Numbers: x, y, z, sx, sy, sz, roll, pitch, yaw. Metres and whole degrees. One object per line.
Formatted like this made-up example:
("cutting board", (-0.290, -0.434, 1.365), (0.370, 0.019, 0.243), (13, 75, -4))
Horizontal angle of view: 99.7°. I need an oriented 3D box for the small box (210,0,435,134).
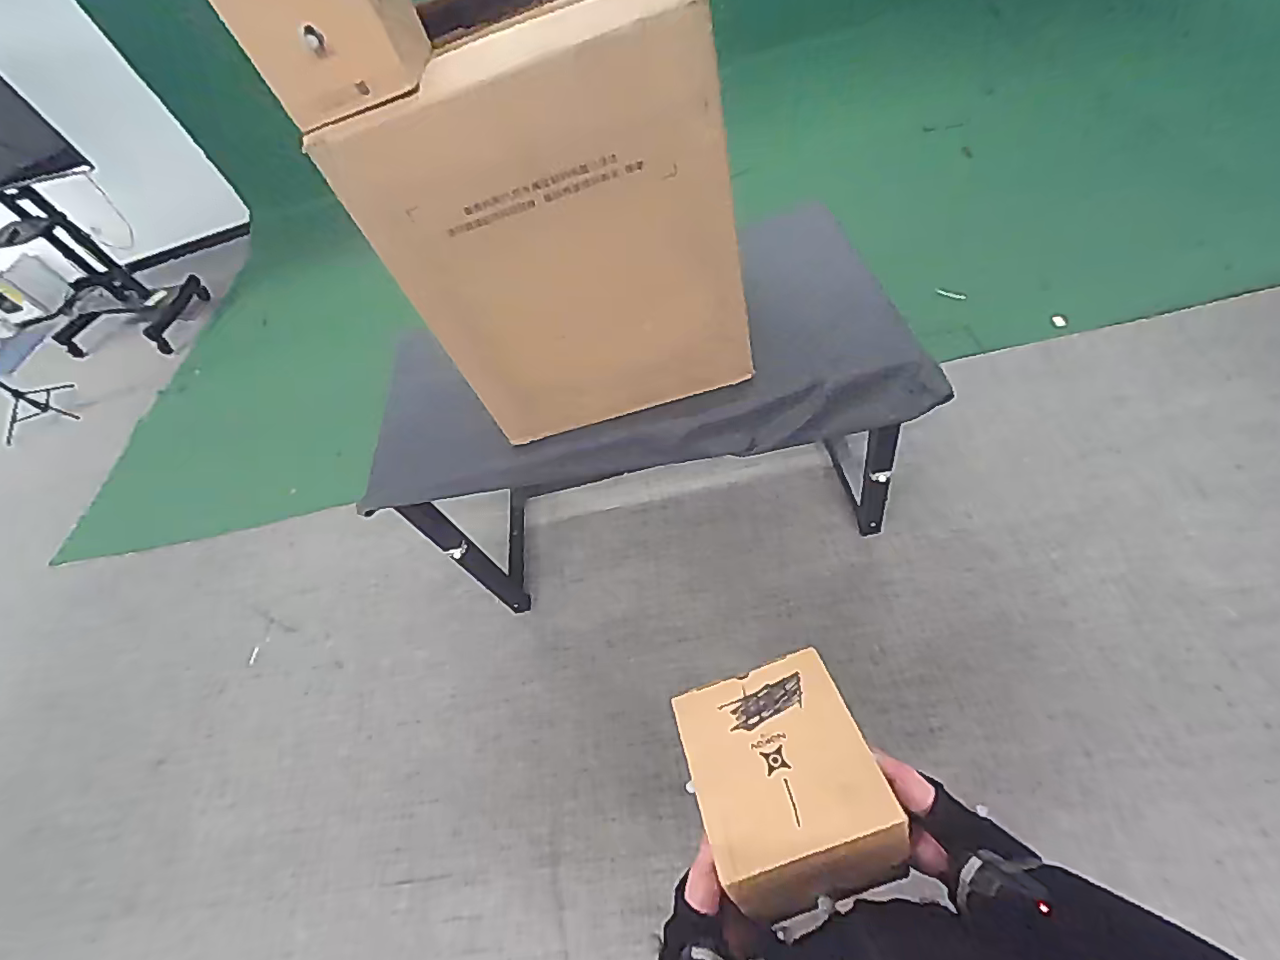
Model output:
("small box", (-0.380, -0.569, 0.679), (0.168, 0.176, 0.179), (-14, 52, 8))
